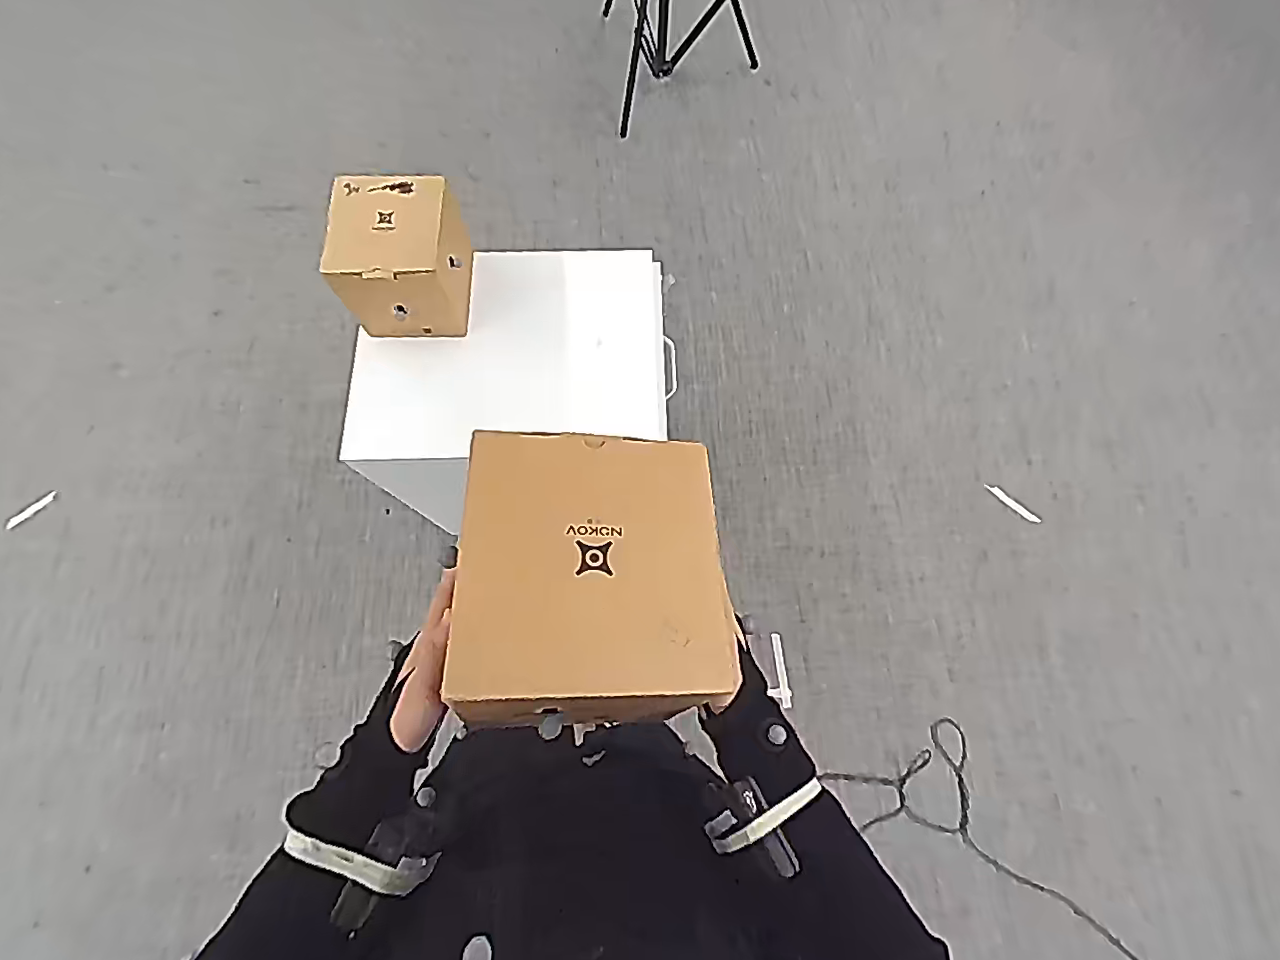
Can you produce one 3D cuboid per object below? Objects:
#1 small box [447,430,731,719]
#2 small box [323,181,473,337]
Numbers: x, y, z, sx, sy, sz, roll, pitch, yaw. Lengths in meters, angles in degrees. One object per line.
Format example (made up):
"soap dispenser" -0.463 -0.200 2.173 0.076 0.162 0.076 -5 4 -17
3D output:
"small box" -0.043 0.083 0.415 0.168 0.176 0.179 2 60 -11
"small box" -0.373 -0.345 0.868 0.168 0.176 0.179 -1 74 -3
